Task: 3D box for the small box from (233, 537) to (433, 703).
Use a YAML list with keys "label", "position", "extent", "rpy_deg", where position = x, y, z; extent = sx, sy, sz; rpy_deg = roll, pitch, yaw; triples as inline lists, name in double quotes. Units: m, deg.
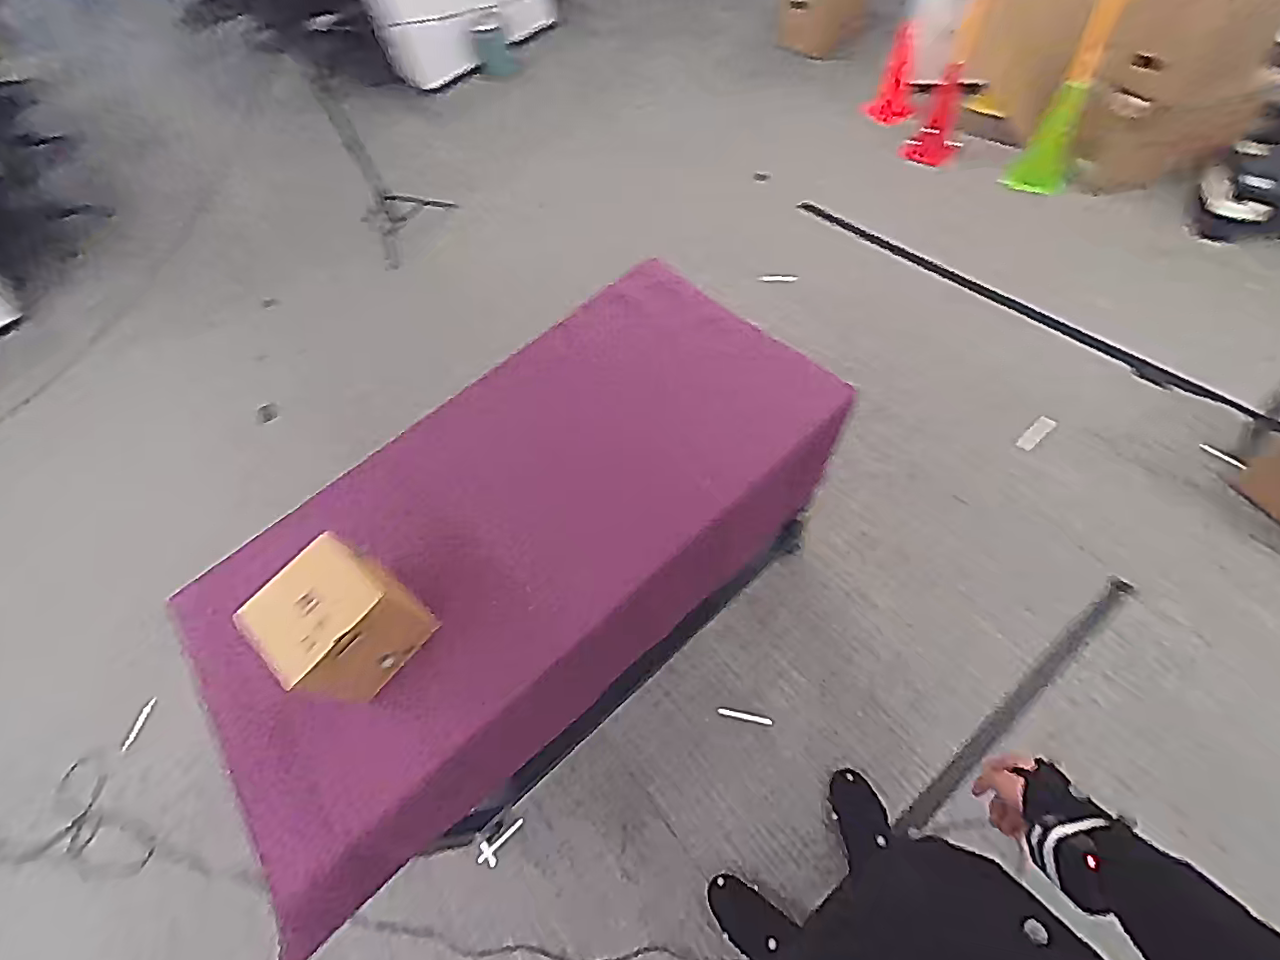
- label: "small box"
  position: [-0.467, 0.225, 0.845]
  extent: [0.179, 0.176, 0.168]
  rpy_deg: [33, 71, 25]
